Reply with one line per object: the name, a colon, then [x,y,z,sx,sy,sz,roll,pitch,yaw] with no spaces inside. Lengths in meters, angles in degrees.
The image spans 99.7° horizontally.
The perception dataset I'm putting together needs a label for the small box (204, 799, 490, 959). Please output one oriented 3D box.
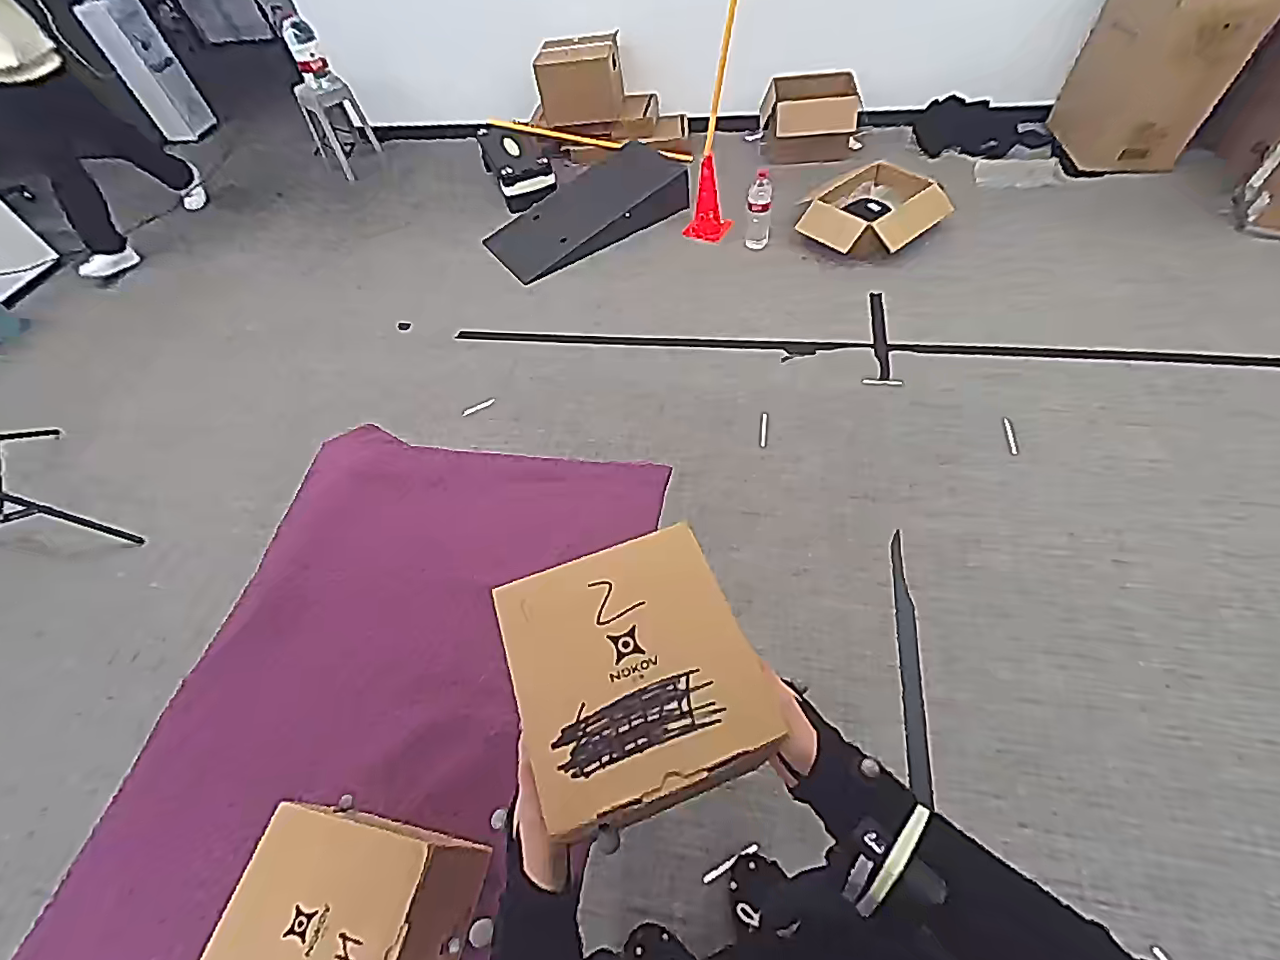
small box: [-0.282,0.442,0.546,0.179,0.176,0.168,7,56,12]
